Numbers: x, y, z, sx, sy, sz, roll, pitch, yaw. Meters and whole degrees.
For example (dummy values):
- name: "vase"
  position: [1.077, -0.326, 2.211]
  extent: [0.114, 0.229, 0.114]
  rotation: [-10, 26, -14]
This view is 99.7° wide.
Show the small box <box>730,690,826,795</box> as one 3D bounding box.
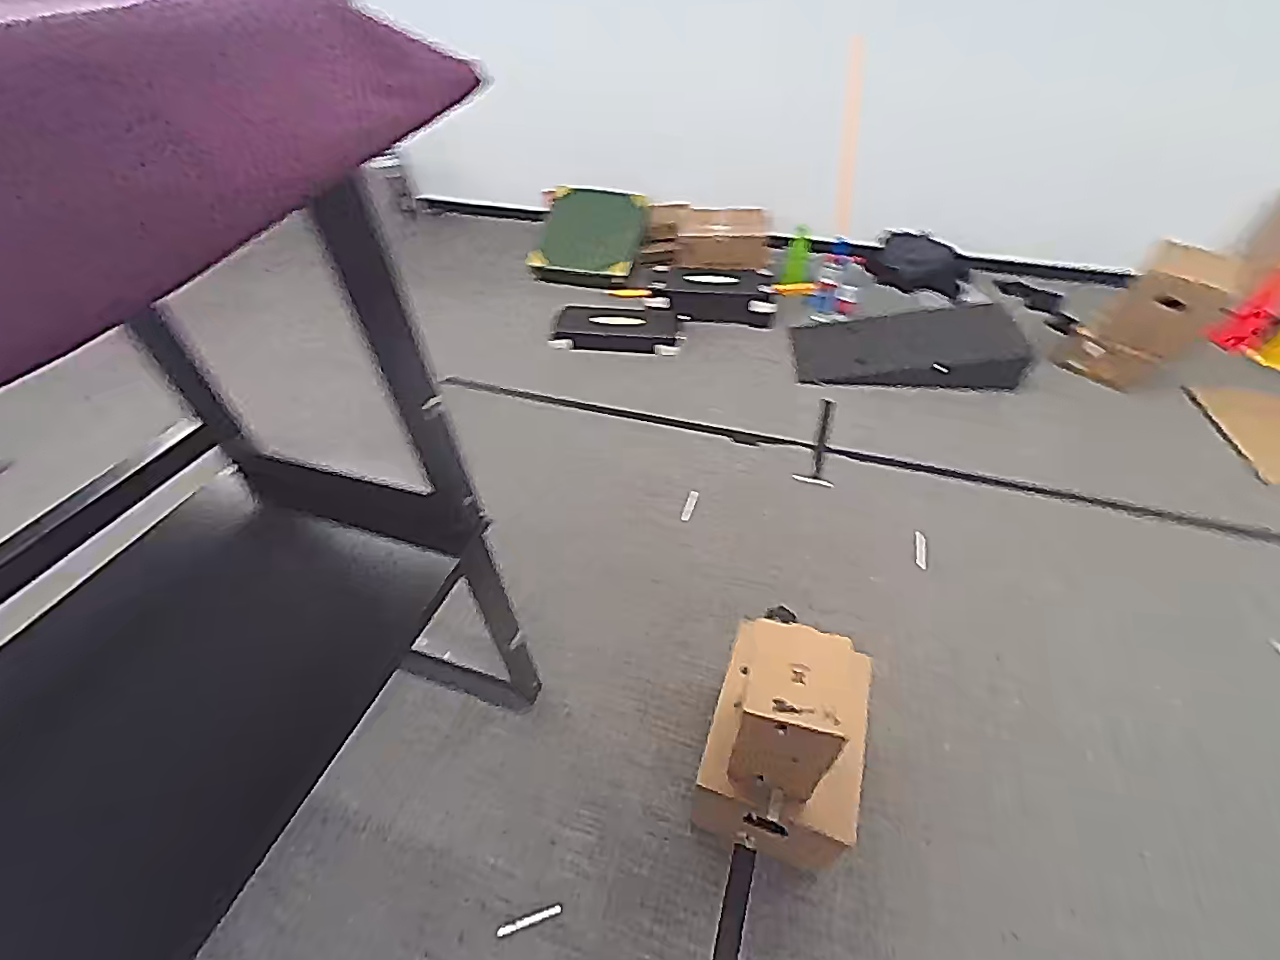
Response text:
- name: "small box"
  position: [0.278, 0.483, 1.065]
  extent: [0.168, 0.176, 0.179]
  rotation: [13, 48, 16]

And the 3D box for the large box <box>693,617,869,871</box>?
- name: "large box"
  position: [0.328, 0.613, 1.278]
  extent: [0.320, 0.320, 0.408]
  rotation: [15, 47, 15]

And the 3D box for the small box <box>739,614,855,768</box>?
- name: "small box"
  position: [0.271, 0.369, 0.948]
  extent: [0.168, 0.176, 0.179]
  rotation: [10, 46, 14]
